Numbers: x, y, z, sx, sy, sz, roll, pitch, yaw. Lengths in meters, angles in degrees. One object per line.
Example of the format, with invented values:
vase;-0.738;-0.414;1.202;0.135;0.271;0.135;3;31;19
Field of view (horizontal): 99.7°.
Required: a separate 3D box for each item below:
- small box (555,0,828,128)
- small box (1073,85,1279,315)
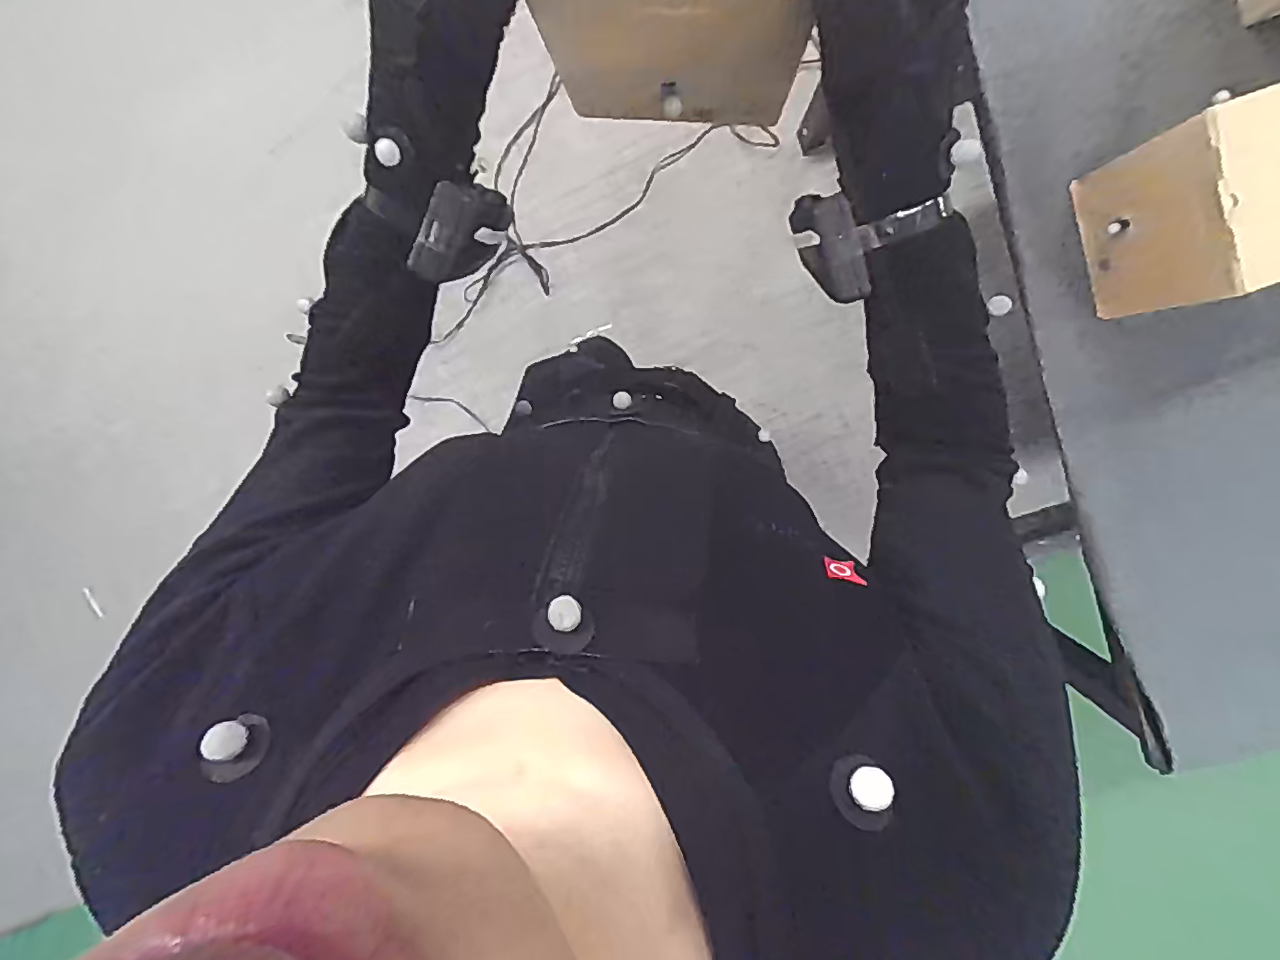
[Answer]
small box;0.035;-0.365;0.350;0.168;0.176;0.179;6;102;4
small box;0.603;-0.284;0.551;0.179;0.176;0.168;-18;97;6
